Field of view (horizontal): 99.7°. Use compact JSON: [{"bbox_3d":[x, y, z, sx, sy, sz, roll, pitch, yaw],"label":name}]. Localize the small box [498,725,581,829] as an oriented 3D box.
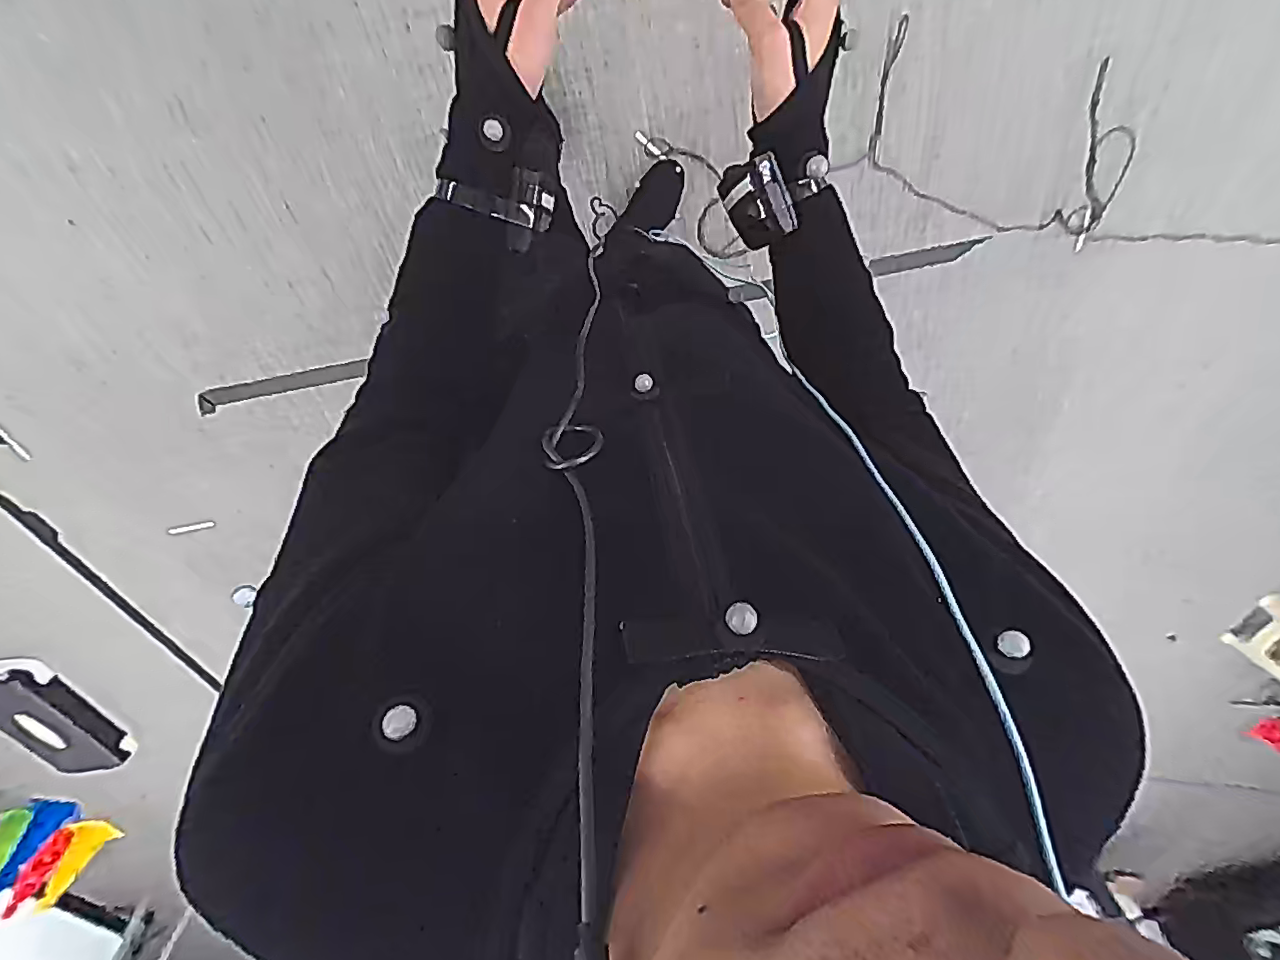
[{"bbox_3d":[-0.246,0.731,1.348,0.168,0.176,0.179,-9,126,-1],"label":"small box"}]
